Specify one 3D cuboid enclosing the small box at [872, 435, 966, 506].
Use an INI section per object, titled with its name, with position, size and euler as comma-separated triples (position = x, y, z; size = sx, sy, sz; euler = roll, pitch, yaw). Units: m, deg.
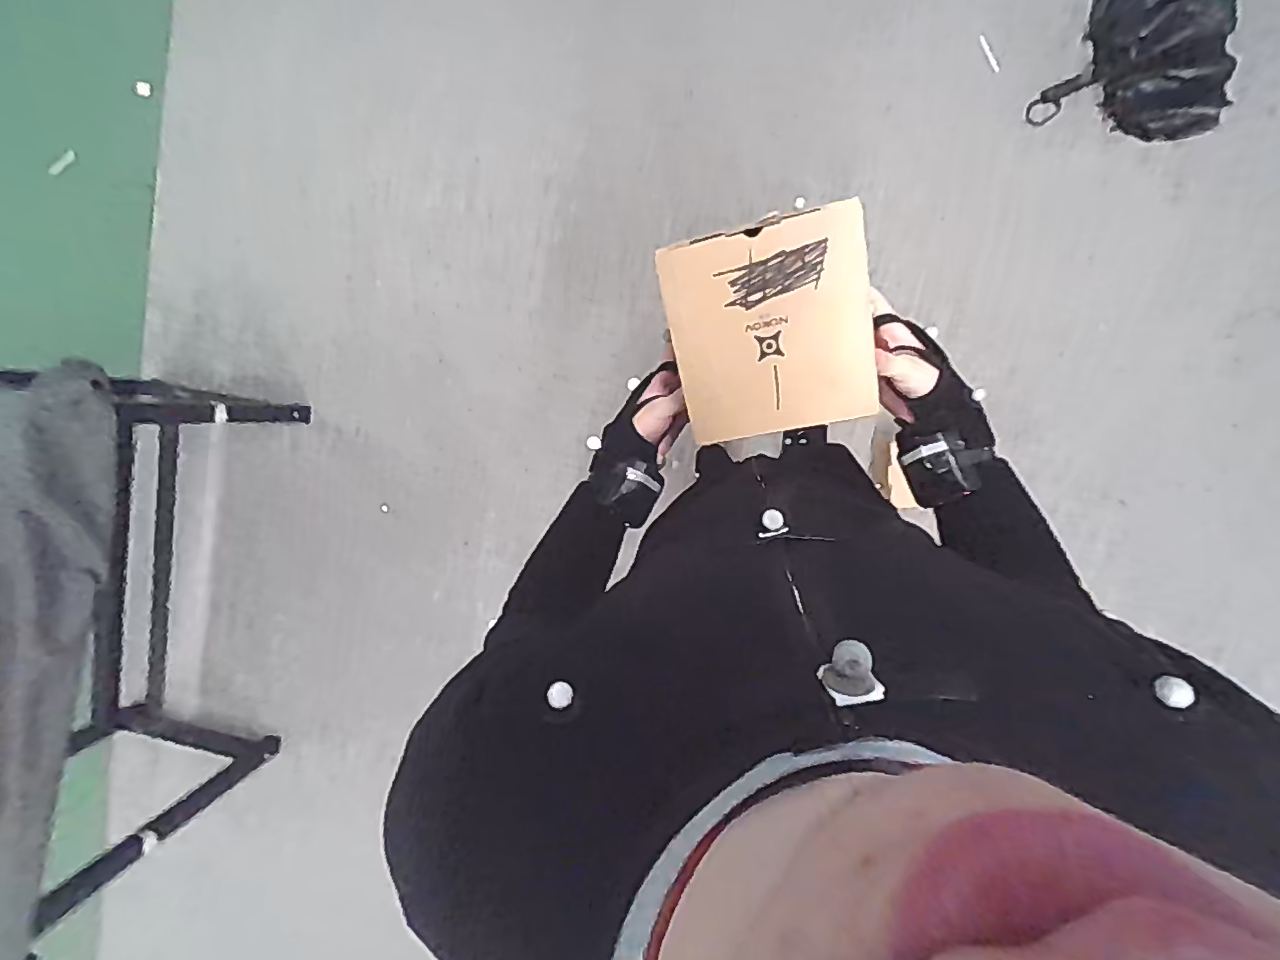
[small box]
position = 0.704, -0.029, 1.385
size = 0.179, 0.176, 0.168
euler = -2, 97, 7
